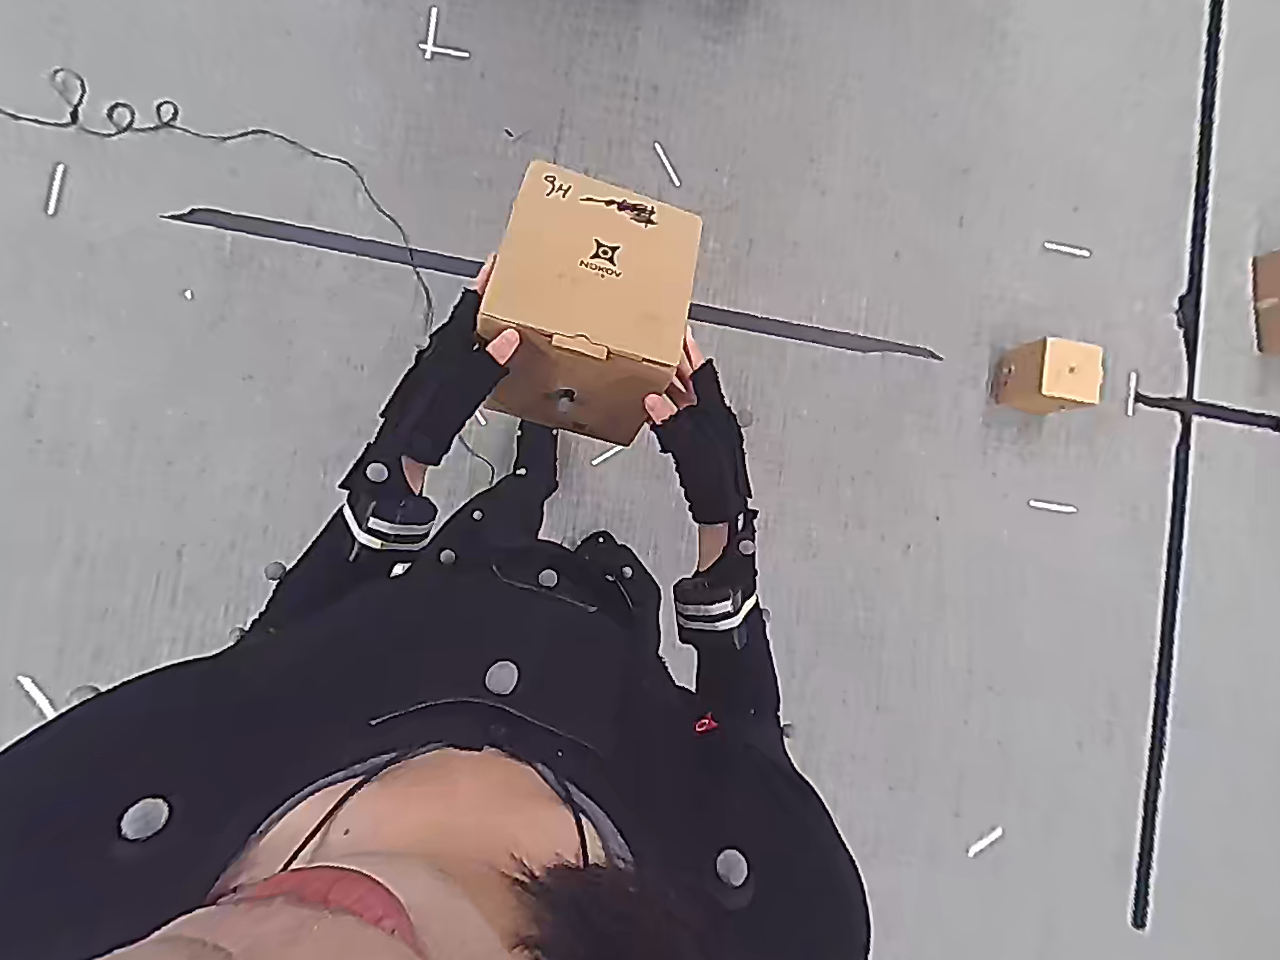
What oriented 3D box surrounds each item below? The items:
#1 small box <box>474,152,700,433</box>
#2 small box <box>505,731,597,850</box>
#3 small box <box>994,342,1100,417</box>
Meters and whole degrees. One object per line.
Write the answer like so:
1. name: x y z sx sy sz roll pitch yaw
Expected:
1. small box: -0.055 -0.166 0.533 0.168 0.176 0.179 14 68 -10
2. small box: -0.223 0.793 1.401 0.168 0.176 0.179 -31 90 -6
3. small box: 1.182 -0.287 1.579 0.179 0.176 0.168 9 86 -4
